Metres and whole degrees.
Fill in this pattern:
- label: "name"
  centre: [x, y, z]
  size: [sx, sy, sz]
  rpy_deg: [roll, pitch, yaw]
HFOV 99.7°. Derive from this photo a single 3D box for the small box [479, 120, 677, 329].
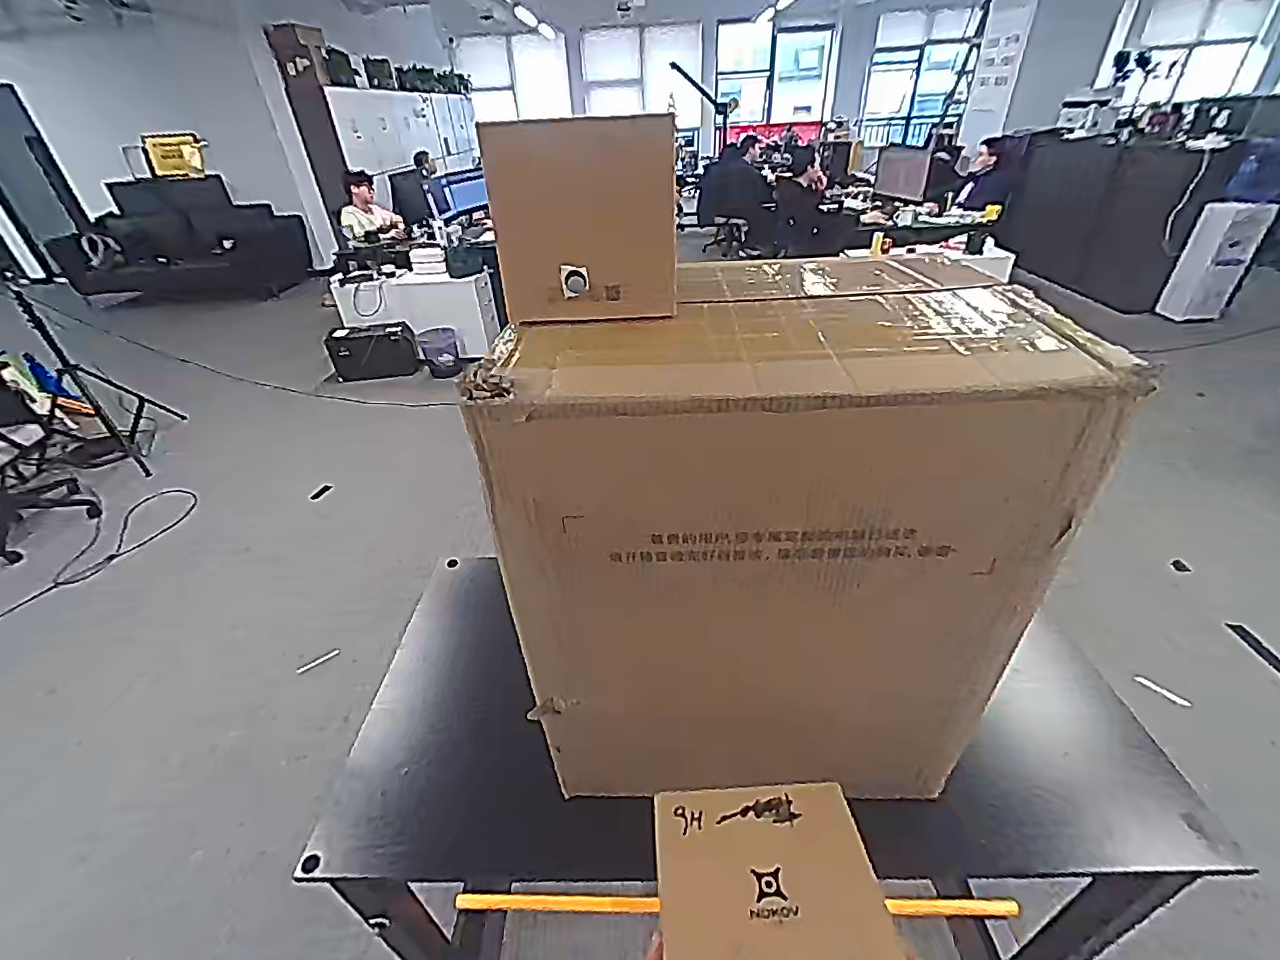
- label: "small box"
  centre: [-0.051, -0.263, 0.556]
  size: [0.168, 0.176, 0.179]
  rpy_deg: [-4, 34, 0]
